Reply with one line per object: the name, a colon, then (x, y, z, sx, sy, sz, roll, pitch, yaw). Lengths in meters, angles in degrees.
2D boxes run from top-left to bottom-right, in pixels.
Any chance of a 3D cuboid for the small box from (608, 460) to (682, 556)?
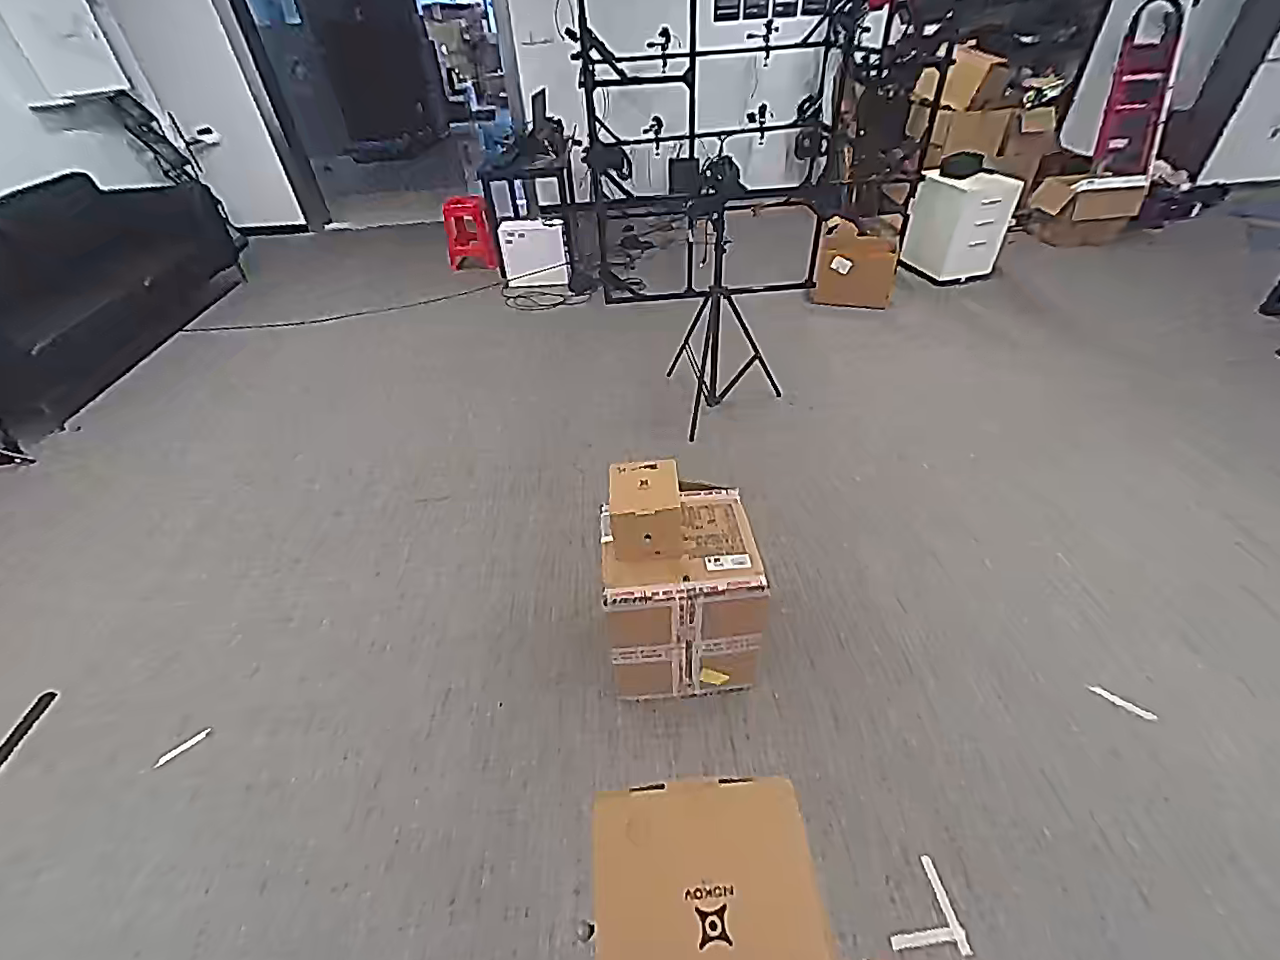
small box: (0.014, 0.075, 1.325, 0.168, 0.176, 0.179, -5, 43, 2)
